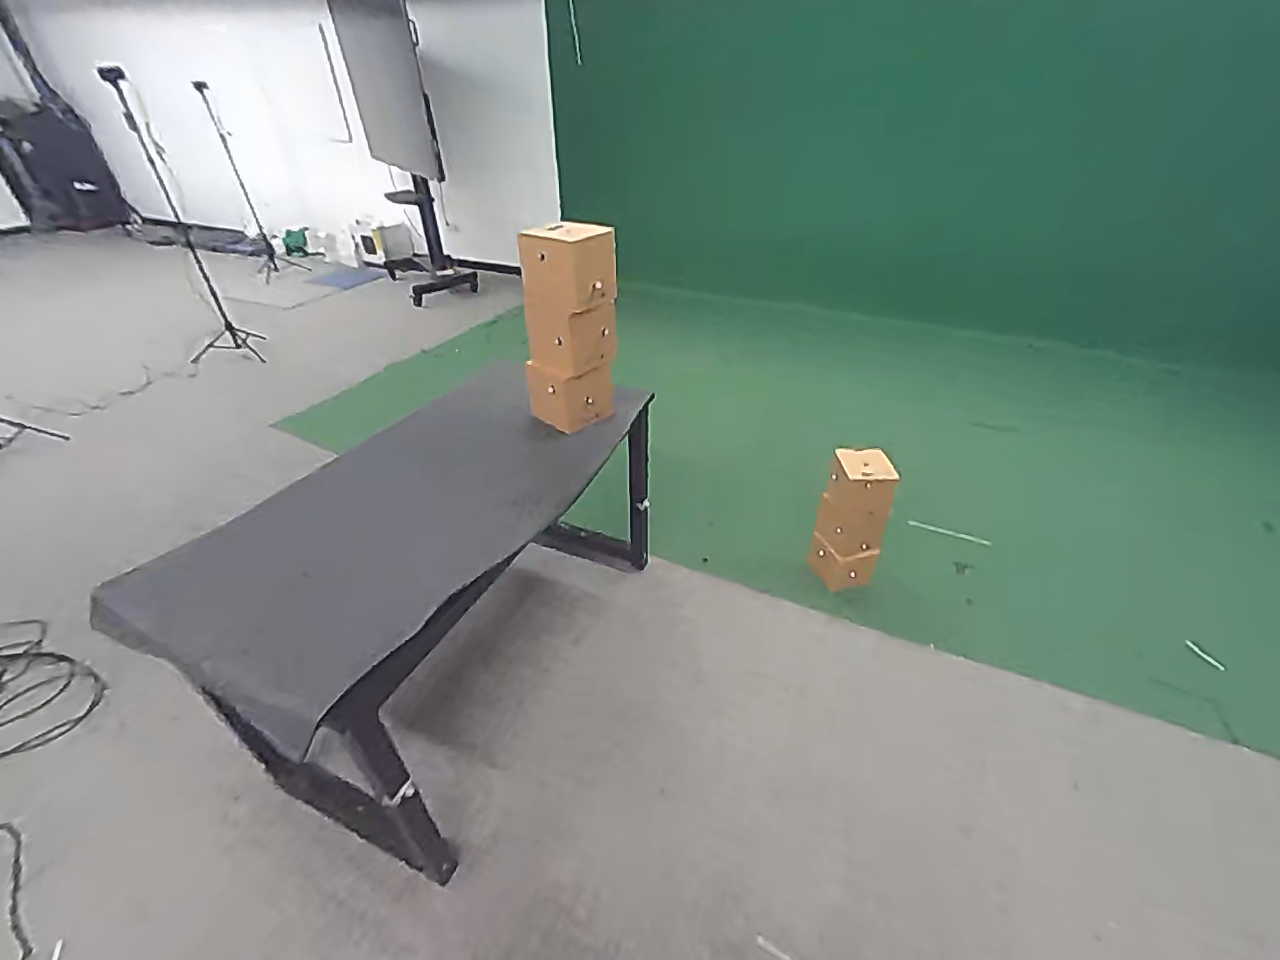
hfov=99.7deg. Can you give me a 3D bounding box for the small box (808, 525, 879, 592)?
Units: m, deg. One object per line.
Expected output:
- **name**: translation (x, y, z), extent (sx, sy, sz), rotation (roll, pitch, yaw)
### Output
- **small box**: translation (0.753, 0.298, 2.013), extent (0.168, 0.176, 0.179), rotation (-12, 37, -15)

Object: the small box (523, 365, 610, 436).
- **small box**: translation (-0.200, -0.242, 1.520), extent (0.179, 0.176, 0.168), rotation (28, 44, 37)

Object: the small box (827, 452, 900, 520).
- **small box**: translation (0.749, 0.019, 1.838), extent (0.168, 0.176, 0.179), rotation (-1, 36, 0)

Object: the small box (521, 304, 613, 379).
- **small box**: translation (-0.187, -0.382, 1.436), extent (0.179, 0.176, 0.168), rotation (24, 41, 33)

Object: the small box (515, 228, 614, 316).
- **small box**: translation (-0.182, -0.518, 1.345), extent (0.179, 0.176, 0.168), rotation (20, 40, 28)
